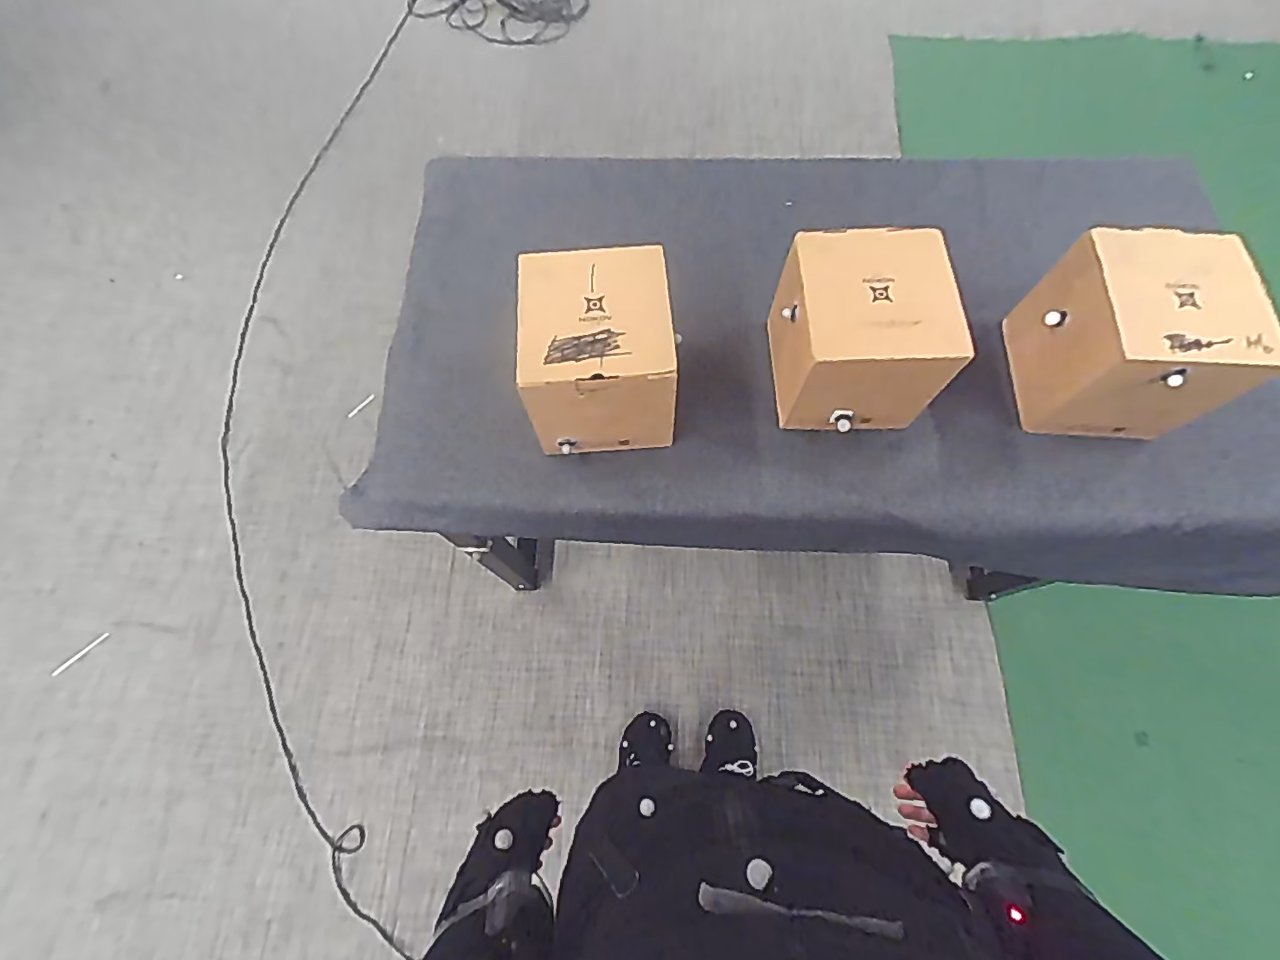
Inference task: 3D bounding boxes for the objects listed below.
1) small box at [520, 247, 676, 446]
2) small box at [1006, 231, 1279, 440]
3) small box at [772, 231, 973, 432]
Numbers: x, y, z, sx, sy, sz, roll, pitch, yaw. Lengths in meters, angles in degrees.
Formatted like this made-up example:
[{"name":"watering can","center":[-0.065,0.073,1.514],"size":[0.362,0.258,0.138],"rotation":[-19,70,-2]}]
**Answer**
[{"name":"small box","center":[-0.045,-0.150,0.657],"size":[0.168,0.176,0.179],"rotation":[-4,67,-1]},{"name":"small box","center":[0.580,-0.167,0.652],"size":[0.168,0.176,0.179],"rotation":[3,68,4]},{"name":"small box","center":[0.265,-0.174,0.664],"size":[0.168,0.176,0.179],"rotation":[-2,70,2]}]
